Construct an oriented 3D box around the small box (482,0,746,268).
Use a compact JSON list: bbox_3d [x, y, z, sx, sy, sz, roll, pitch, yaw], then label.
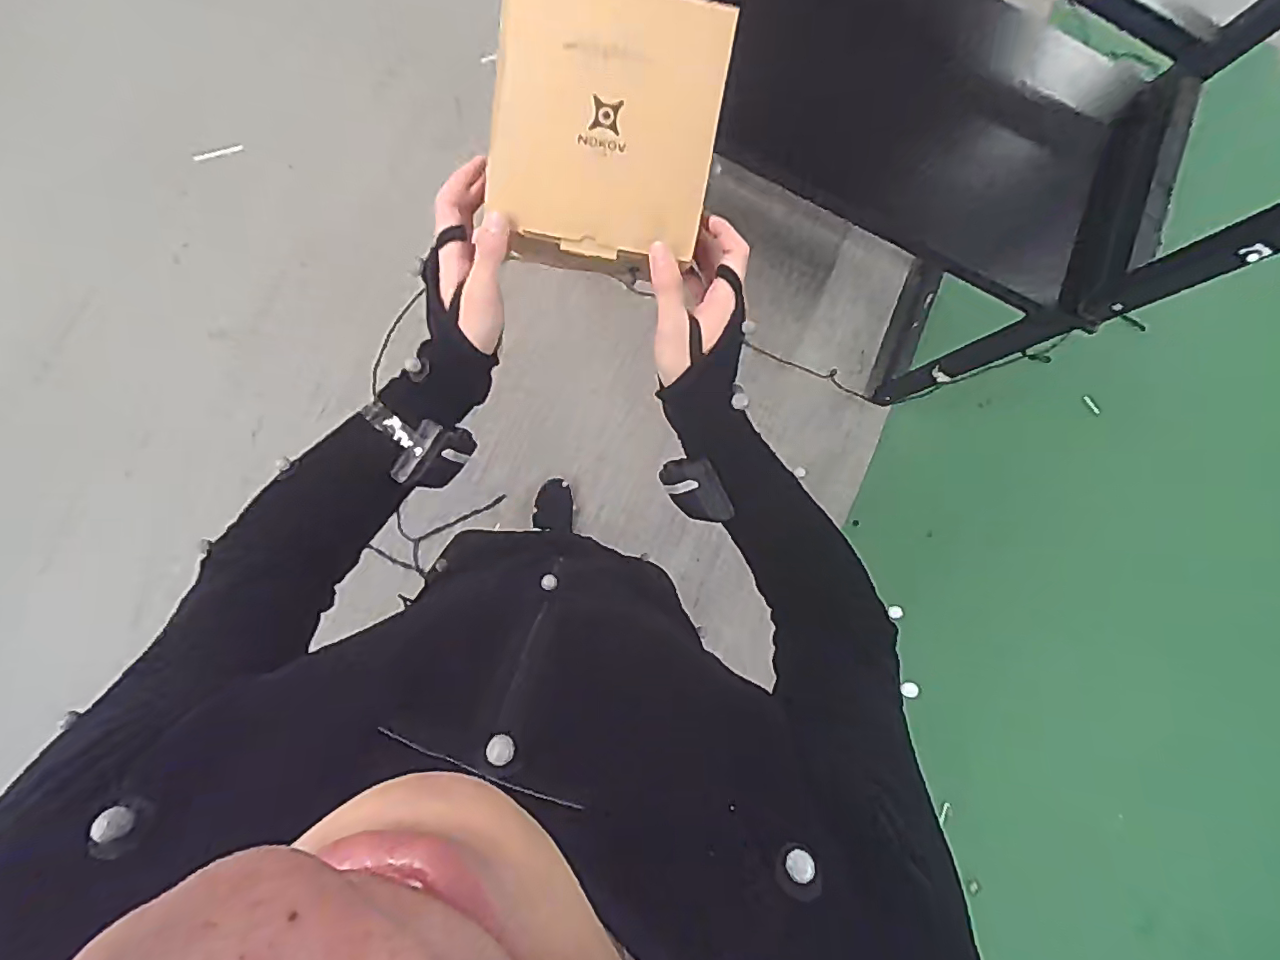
[{"bbox_3d":[-0.024,-0.291,0.461,0.168,0.176,0.179,10,105,-5],"label":"small box"}]
